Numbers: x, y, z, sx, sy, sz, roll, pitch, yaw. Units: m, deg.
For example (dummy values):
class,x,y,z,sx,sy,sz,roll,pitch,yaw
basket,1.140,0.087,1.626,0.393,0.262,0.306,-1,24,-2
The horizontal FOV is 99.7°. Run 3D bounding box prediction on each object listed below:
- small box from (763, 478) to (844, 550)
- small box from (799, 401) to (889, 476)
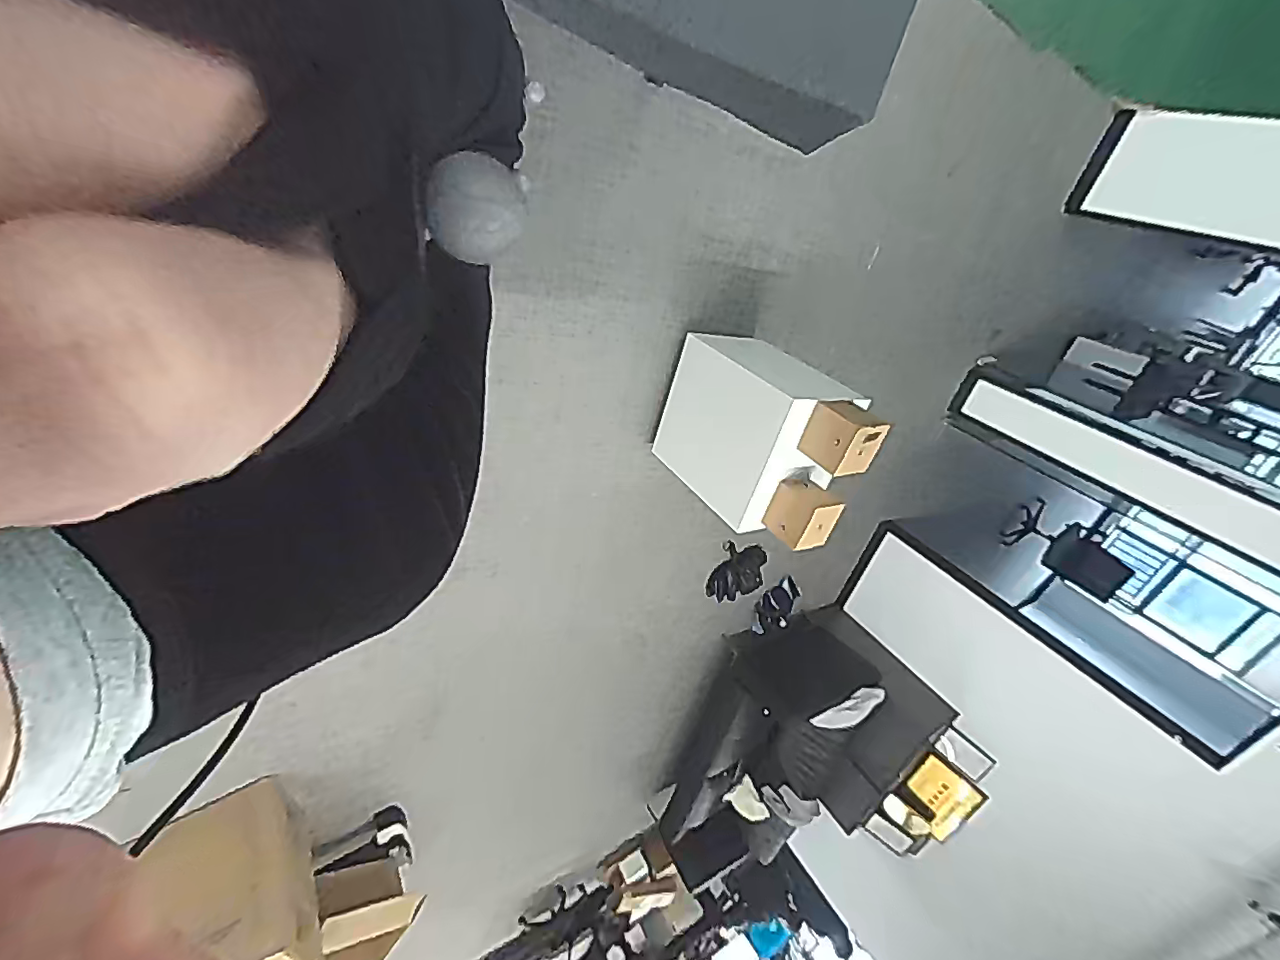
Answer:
class,x,y,z,sx,sy,sz,roll,pitch,yaw
small box,0.547,0.111,1.837,0.168,0.176,0.179,-6,125,-37
small box,0.630,-0.137,1.694,0.168,0.176,0.179,-8,129,-34
